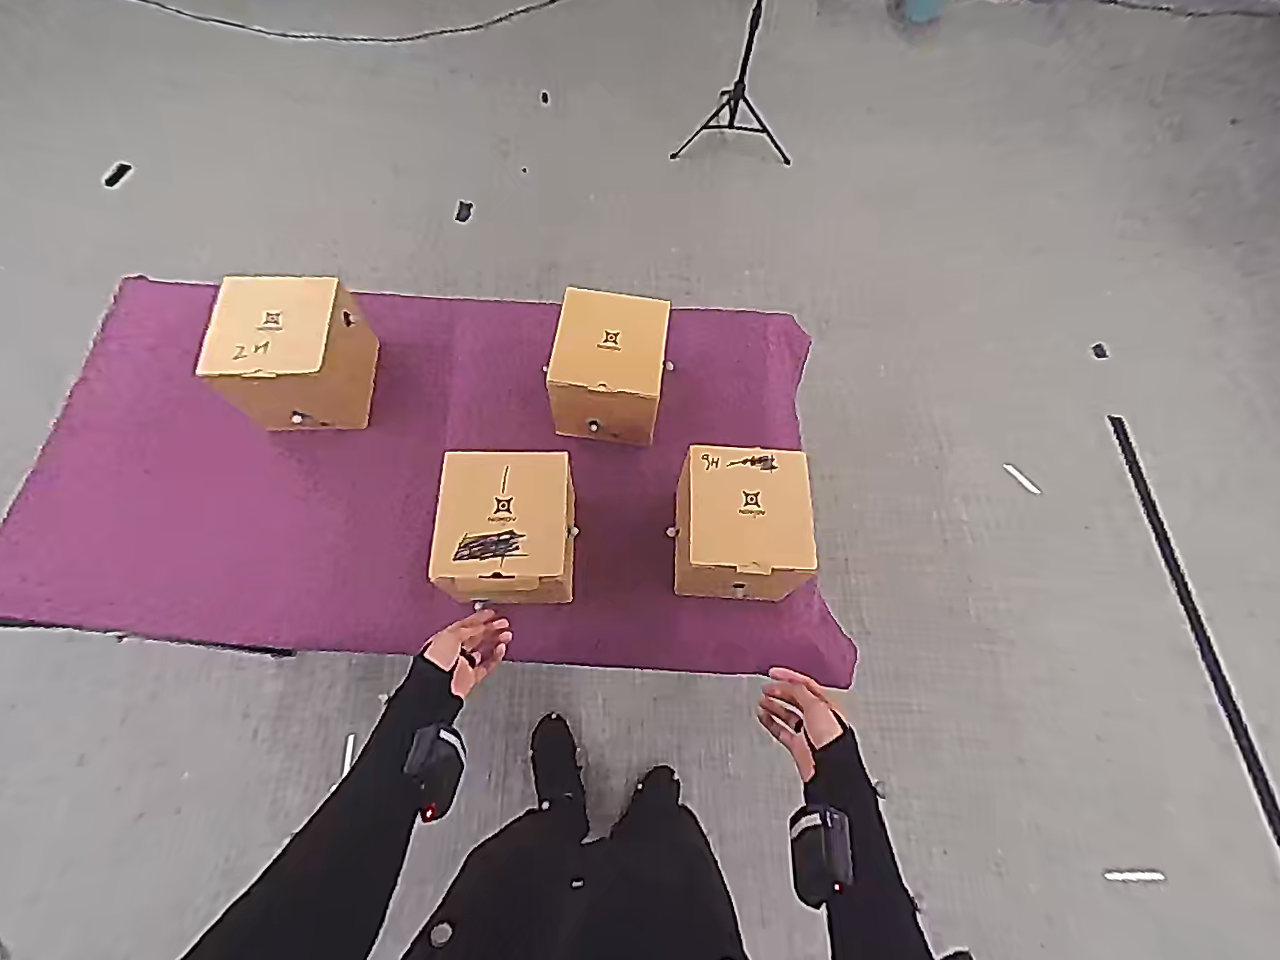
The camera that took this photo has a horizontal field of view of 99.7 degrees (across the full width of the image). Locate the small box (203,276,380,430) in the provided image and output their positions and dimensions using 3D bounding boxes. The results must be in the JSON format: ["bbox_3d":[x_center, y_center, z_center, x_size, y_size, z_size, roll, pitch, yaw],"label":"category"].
[{"bbox_3d":[-0.534,-0.196,0.860,0.168,0.176,0.179,-1,68,-4],"label":"small box"}]

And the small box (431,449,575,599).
[{"bbox_3d":[-0.180,0.070,0.770,0.168,0.176,0.179,0,66,-4],"label":"small box"}]

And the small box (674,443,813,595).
[{"bbox_3d":[0.142,0.065,0.792,0.168,0.176,0.179,4,65,-2],"label":"small box"}]

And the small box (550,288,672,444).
[{"bbox_3d":[-0.047,-0.180,0.888,0.168,0.176,0.179,8,68,0],"label":"small box"}]
